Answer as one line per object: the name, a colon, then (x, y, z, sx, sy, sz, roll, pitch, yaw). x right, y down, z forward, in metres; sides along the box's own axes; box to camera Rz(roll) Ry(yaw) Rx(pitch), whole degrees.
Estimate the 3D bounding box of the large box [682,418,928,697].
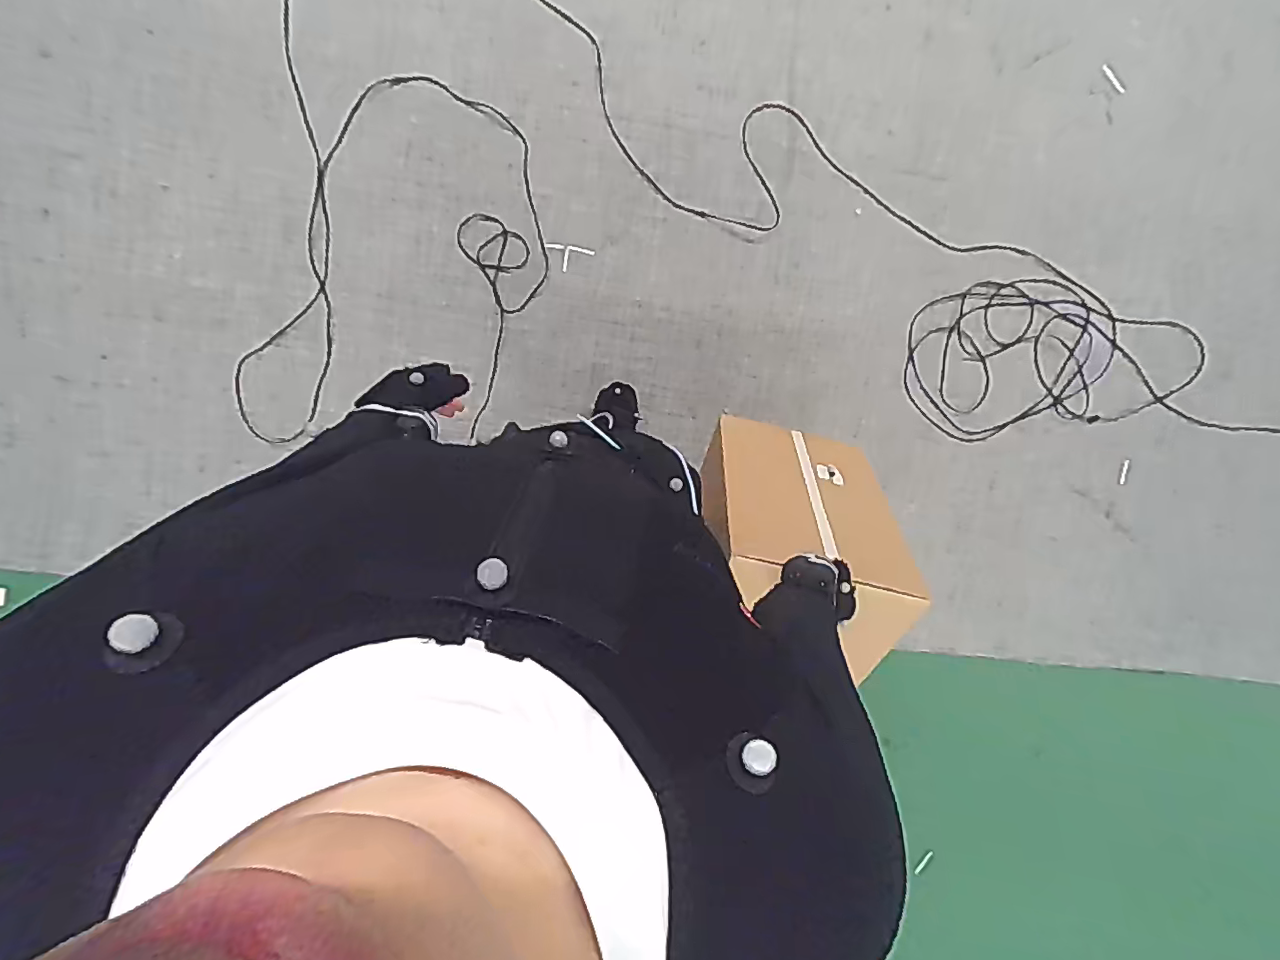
large box: (0.267, 0.138, 1.041, 0.320, 0.408, 0.320, 14, 126, -5)
